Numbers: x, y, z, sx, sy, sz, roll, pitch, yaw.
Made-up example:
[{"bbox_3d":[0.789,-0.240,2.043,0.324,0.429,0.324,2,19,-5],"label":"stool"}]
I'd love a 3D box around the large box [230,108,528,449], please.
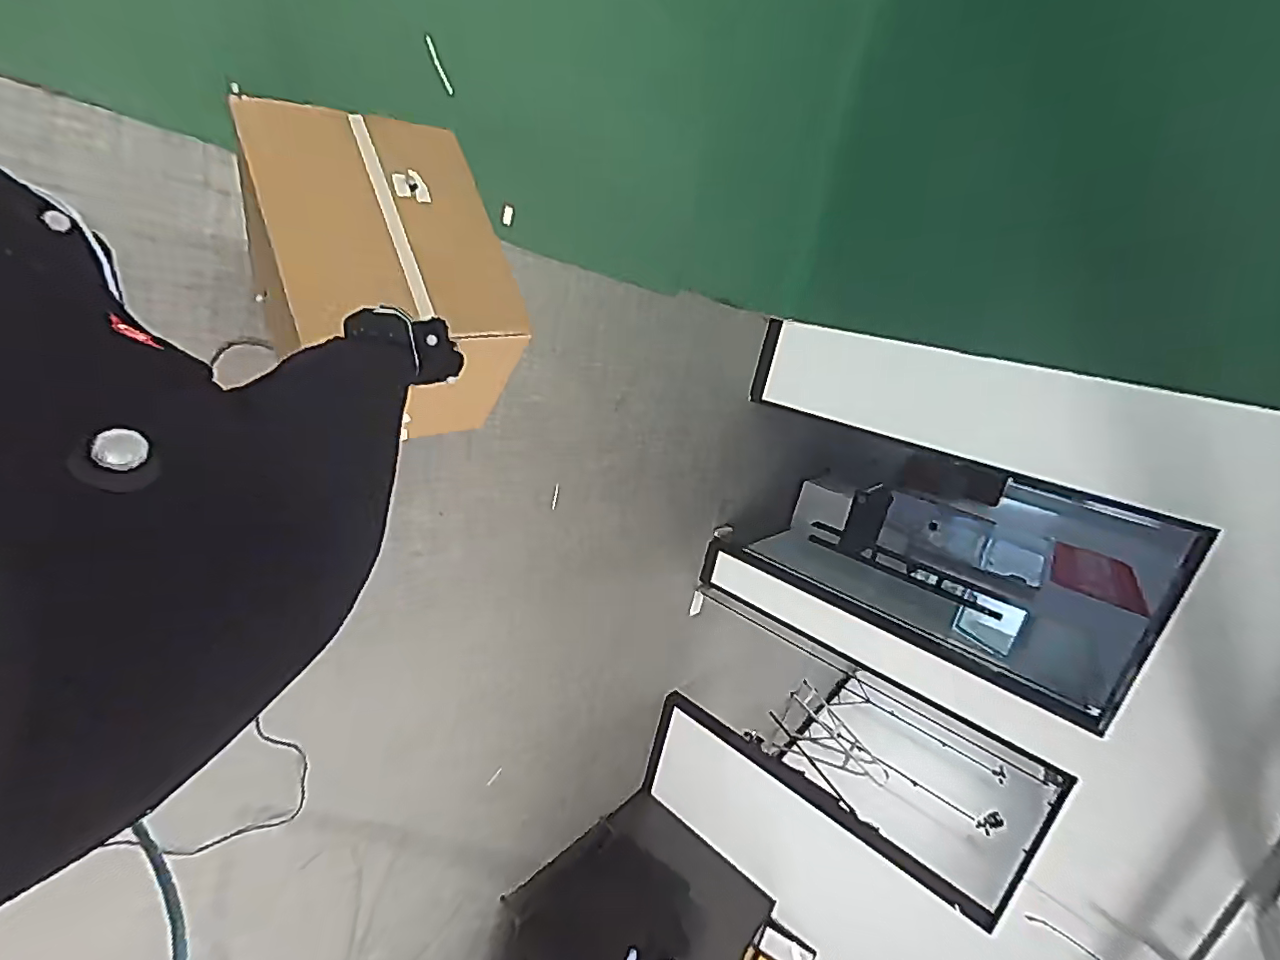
[{"bbox_3d":[-0.439,-0.315,0.913,0.320,0.408,0.320,-14,165,-36],"label":"large box"}]
